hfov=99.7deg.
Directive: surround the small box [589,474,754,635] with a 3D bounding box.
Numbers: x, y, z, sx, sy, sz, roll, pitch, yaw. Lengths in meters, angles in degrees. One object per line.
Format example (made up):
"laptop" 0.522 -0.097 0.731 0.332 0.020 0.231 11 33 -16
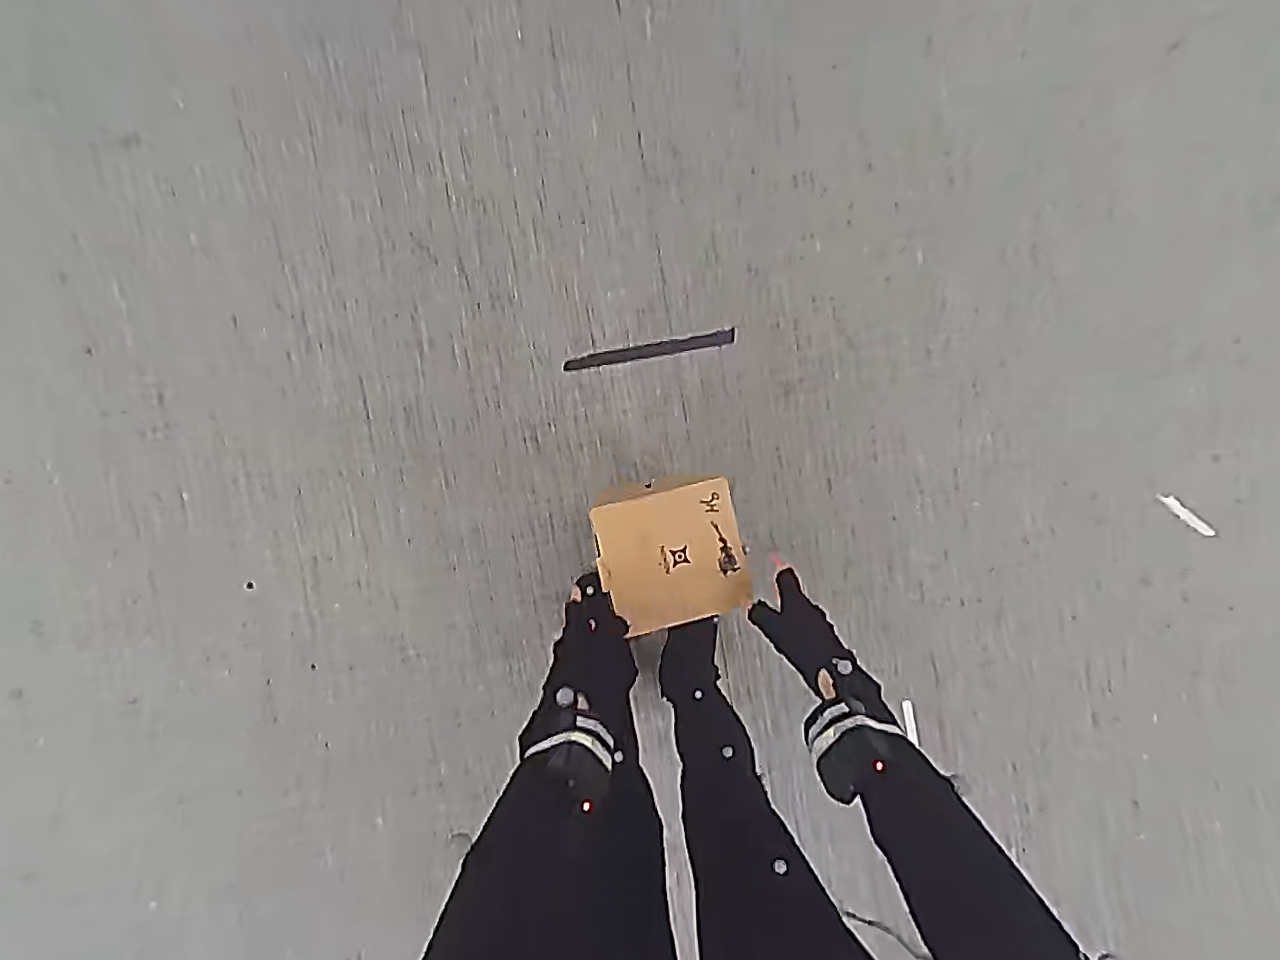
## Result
"small box" 0.036 0.089 0.732 0.179 0.176 0.168 -13 93 -3
